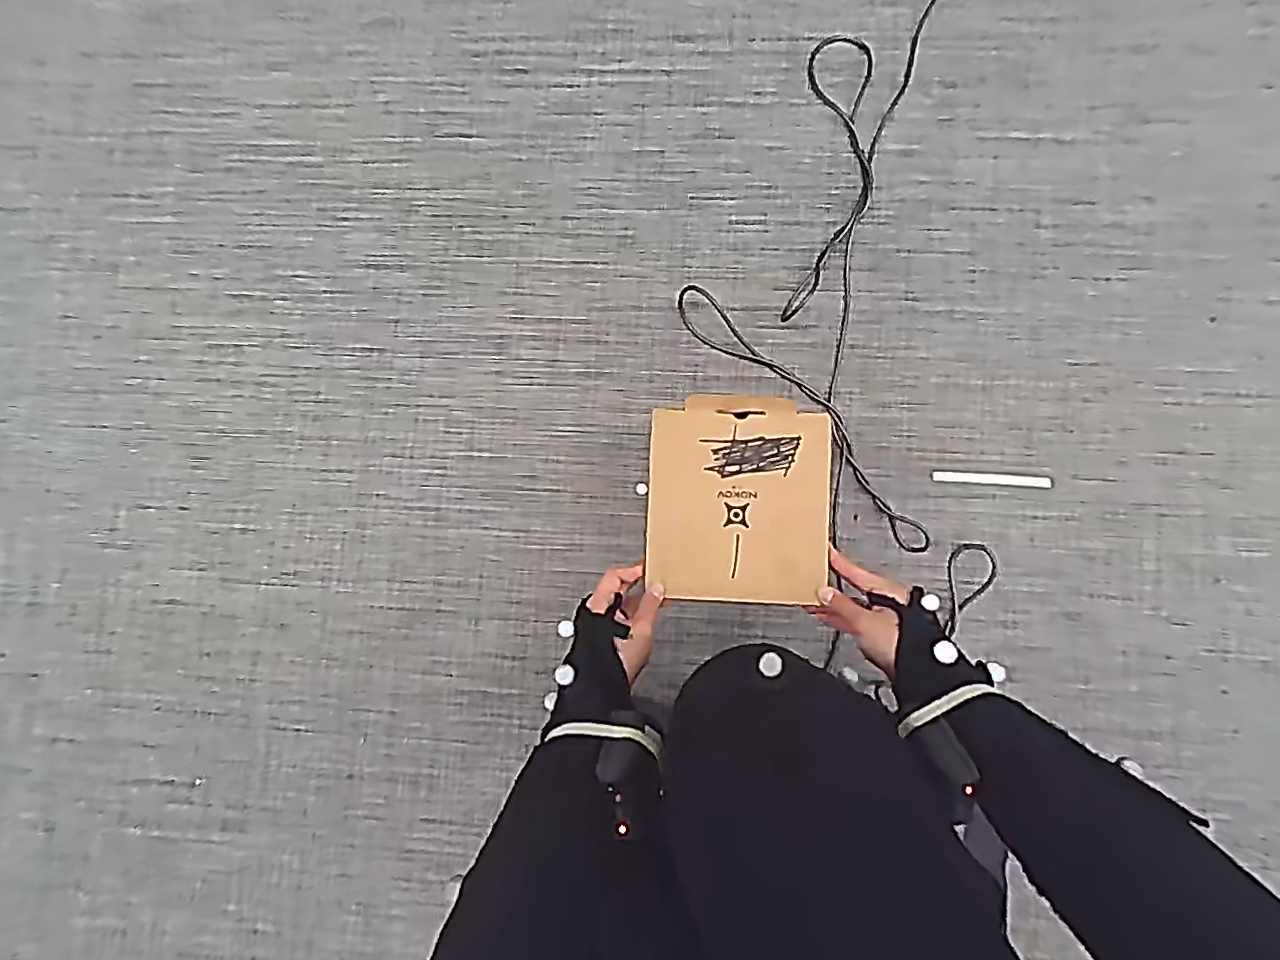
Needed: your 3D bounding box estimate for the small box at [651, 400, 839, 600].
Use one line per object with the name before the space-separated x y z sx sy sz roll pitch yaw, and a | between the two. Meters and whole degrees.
small box | 0.098 0.021 0.568 0.168 0.176 0.179 3 87 3
